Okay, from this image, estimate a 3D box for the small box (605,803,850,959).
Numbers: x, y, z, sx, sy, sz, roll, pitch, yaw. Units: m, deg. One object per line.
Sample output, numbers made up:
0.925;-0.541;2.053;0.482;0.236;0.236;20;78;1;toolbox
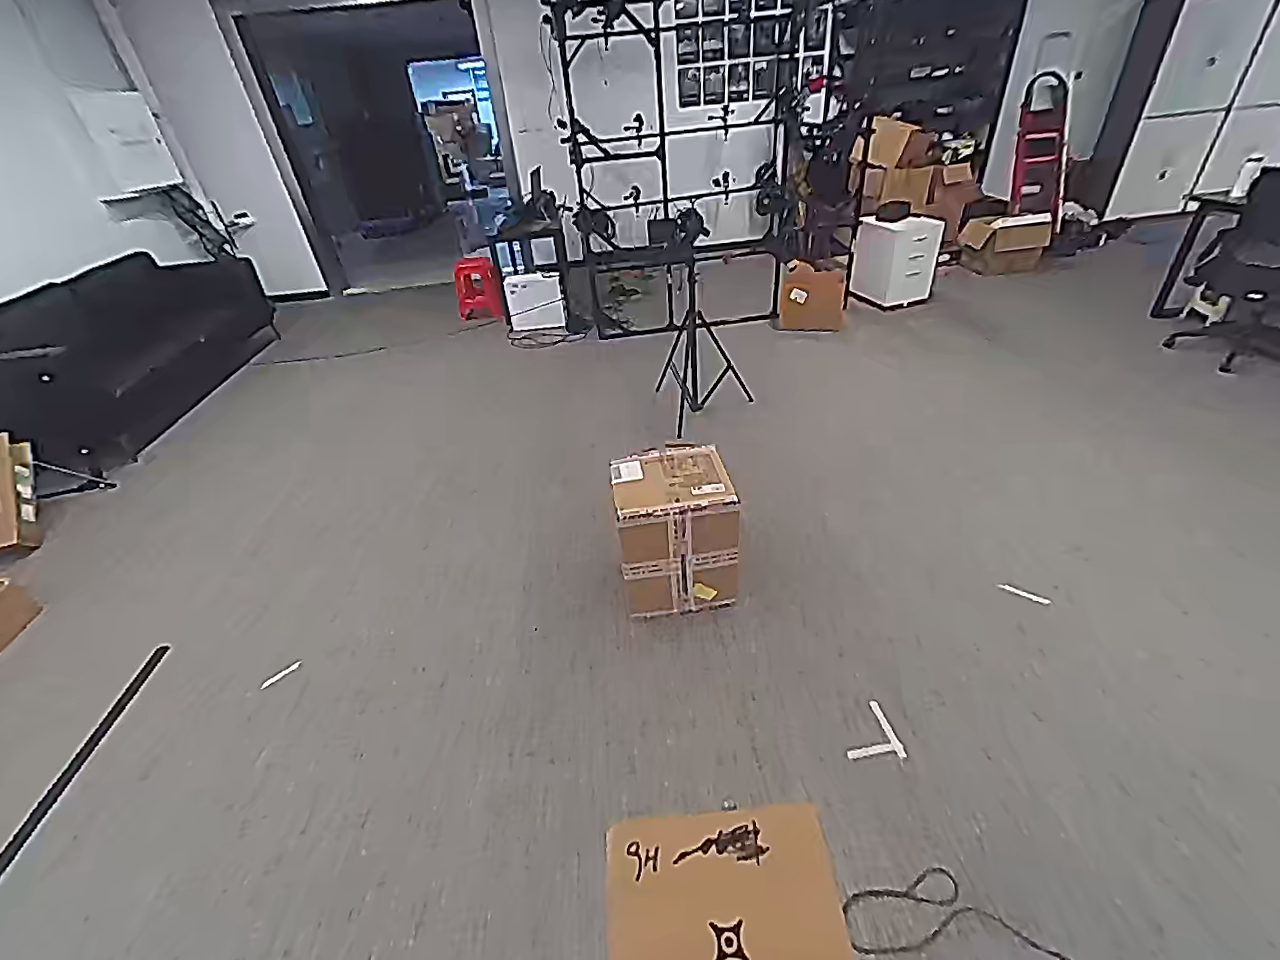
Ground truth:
0.066;0.378;0.422;0.168;0.176;0.179;-7;45;0;small box
